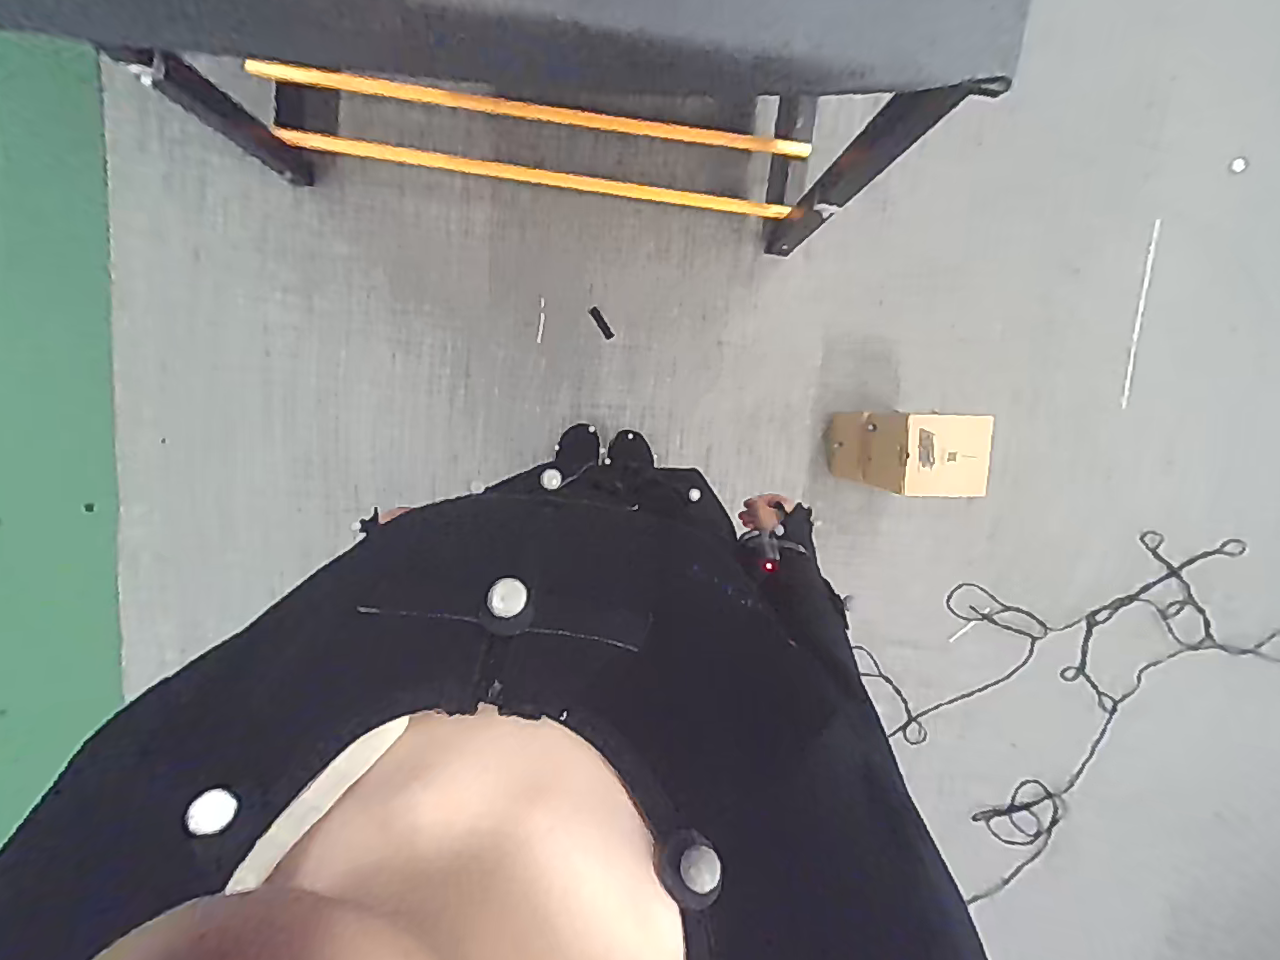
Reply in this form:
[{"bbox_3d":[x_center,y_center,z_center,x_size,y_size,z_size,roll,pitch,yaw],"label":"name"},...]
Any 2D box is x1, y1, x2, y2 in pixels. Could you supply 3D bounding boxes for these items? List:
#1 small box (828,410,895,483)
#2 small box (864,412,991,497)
[{"bbox_3d":[0.580,-0.084,1.314,0.179,0.176,0.168,0,97,-3],"label":"small box"},{"bbox_3d":[0.601,-0.060,1.152,0.179,0.176,0.168,1,98,-4],"label":"small box"}]
